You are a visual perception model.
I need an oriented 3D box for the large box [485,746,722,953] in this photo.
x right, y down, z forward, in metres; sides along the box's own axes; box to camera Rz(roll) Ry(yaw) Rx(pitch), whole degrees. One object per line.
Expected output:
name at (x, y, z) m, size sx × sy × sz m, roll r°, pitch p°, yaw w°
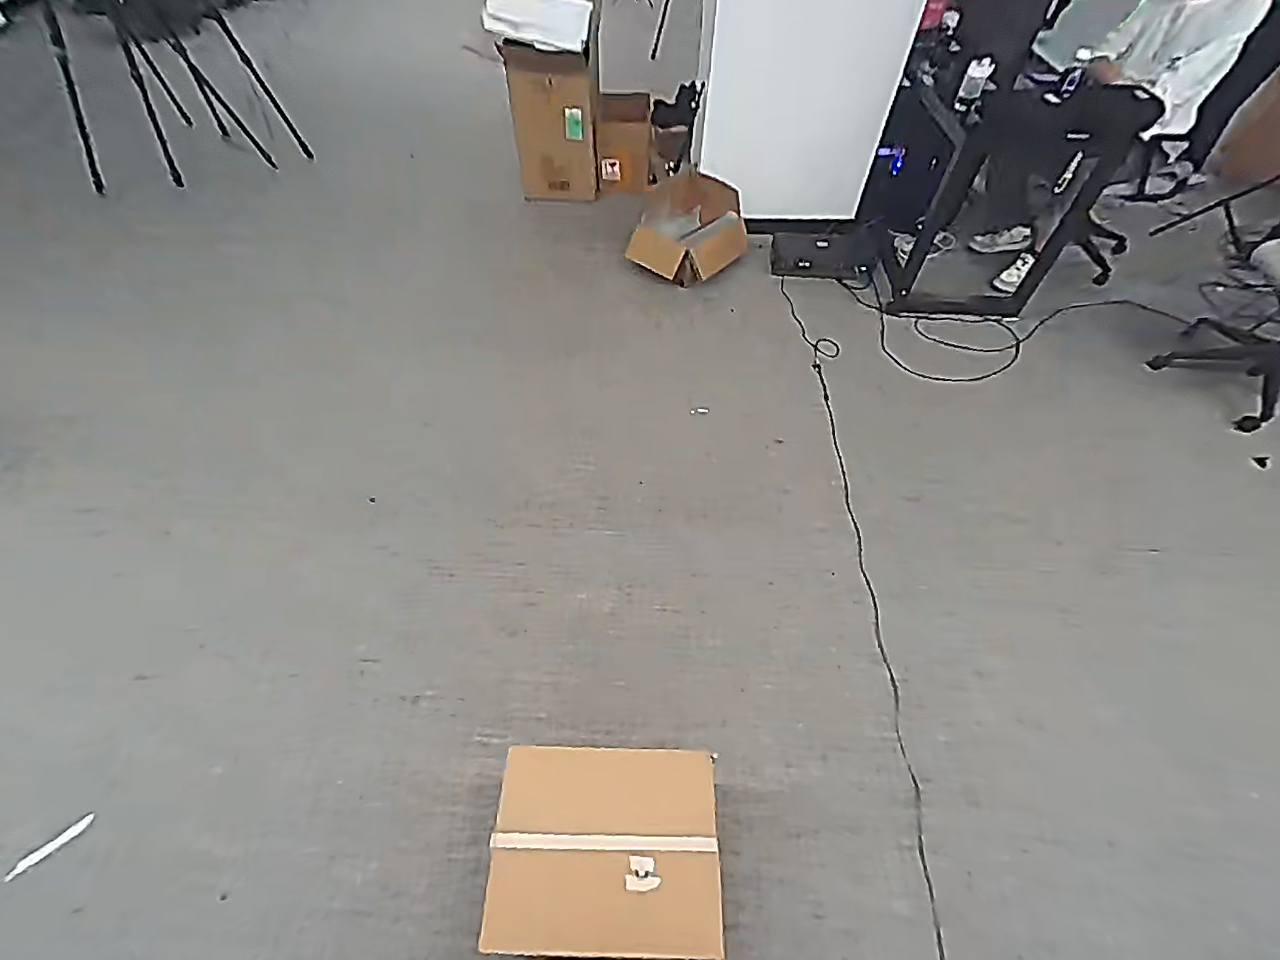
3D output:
large box at (-0.065, 0.748, 1.102) m, size 0.408 × 0.320 × 0.320 m, roll 2°, pitch 53°, yaw -1°
